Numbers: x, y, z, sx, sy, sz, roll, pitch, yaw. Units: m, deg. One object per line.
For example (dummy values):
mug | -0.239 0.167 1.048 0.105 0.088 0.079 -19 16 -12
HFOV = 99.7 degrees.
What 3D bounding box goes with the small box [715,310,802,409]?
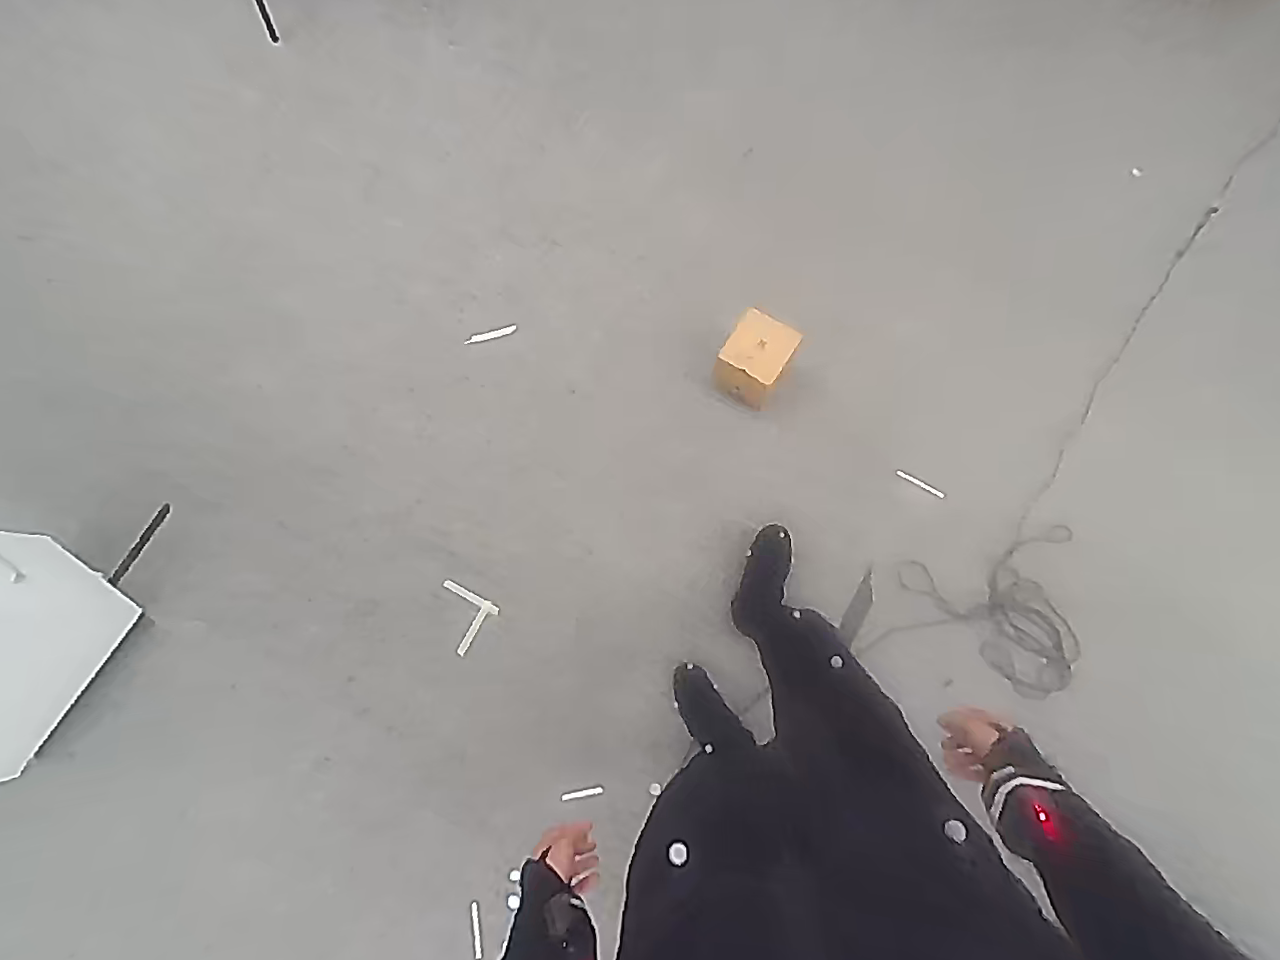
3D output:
small box | 0.321 -0.330 1.511 0.168 0.176 0.179 33 81 10
